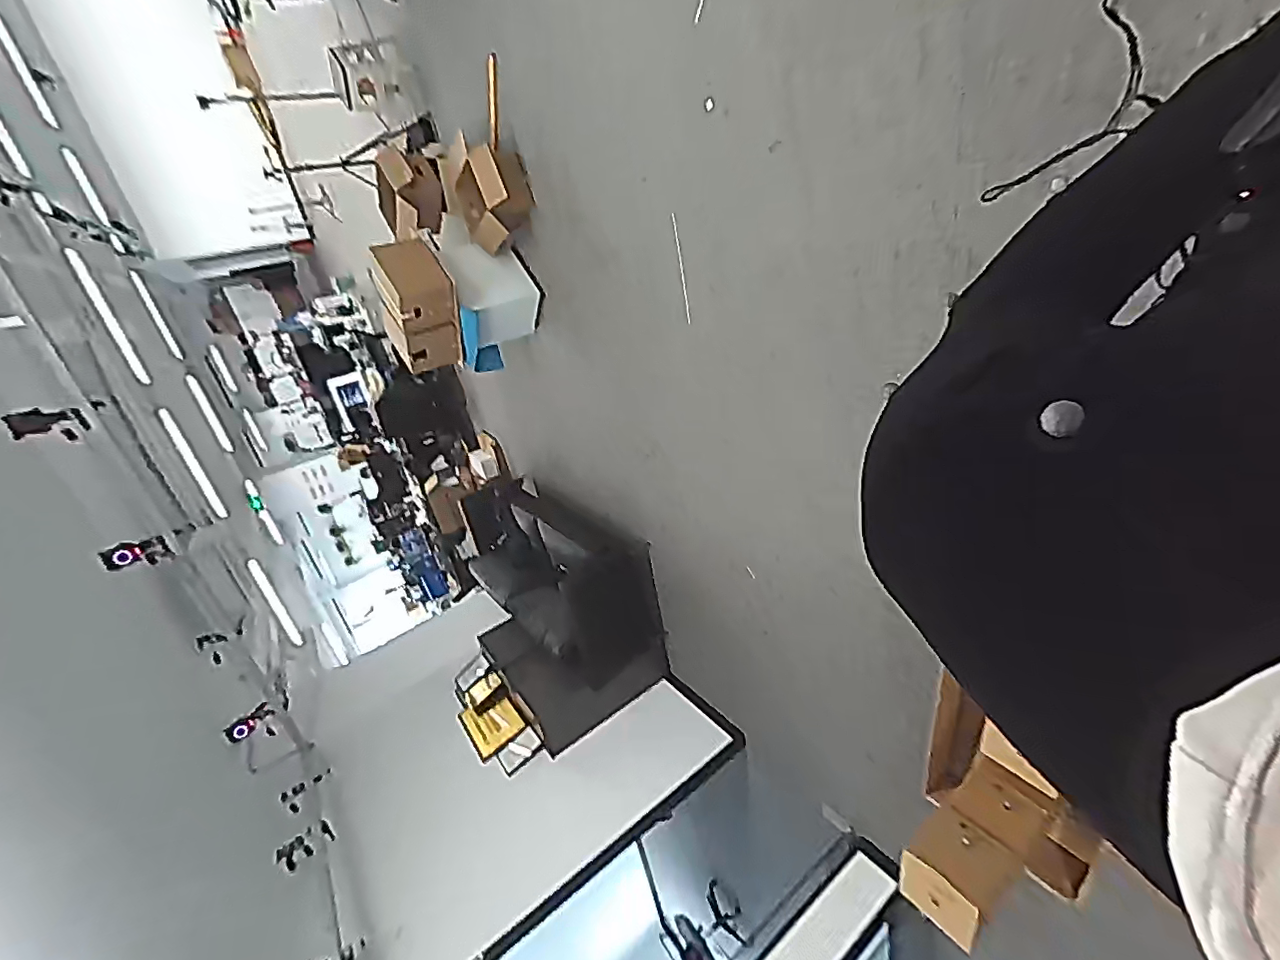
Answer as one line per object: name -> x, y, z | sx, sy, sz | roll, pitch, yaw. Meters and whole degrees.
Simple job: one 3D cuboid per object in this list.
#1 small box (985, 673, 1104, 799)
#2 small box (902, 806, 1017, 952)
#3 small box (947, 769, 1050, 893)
small box -> 0.962, 0.600, 1.288 | 0.168, 0.176, 0.179 | 29, 137, 49
small box -> 0.731, 0.907, 1.242 | 0.168, 0.176, 0.179 | 25, 130, 50
small box -> 0.867, 0.862, 1.326 | 0.168, 0.176, 0.179 | 28, 133, 50
